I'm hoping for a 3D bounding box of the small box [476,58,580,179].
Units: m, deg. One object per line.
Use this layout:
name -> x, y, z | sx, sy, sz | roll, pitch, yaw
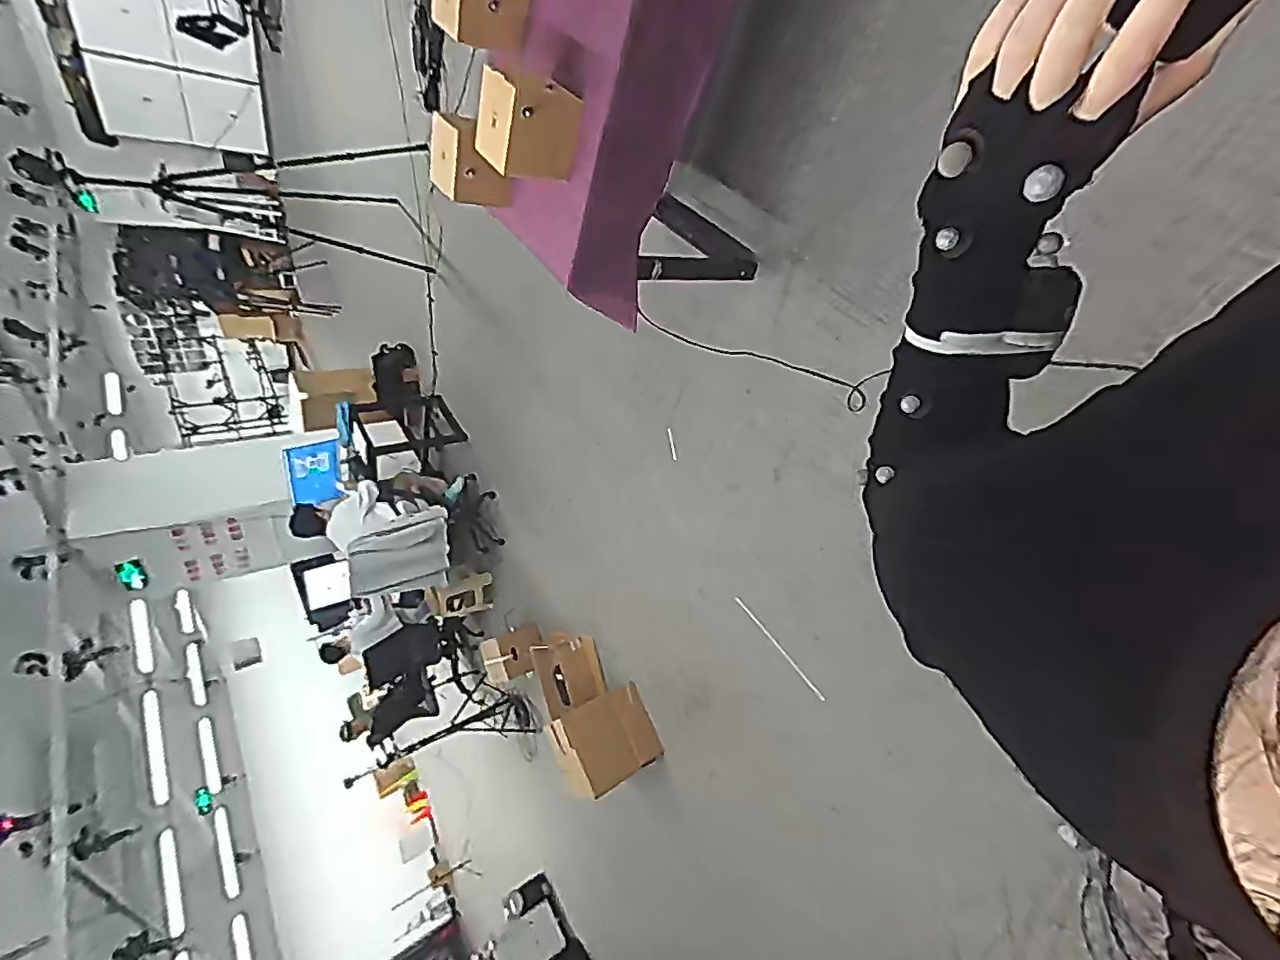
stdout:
small box -> -0.258, -0.819, 1.240 | 0.168, 0.176, 0.179 | 52, 137, 28
